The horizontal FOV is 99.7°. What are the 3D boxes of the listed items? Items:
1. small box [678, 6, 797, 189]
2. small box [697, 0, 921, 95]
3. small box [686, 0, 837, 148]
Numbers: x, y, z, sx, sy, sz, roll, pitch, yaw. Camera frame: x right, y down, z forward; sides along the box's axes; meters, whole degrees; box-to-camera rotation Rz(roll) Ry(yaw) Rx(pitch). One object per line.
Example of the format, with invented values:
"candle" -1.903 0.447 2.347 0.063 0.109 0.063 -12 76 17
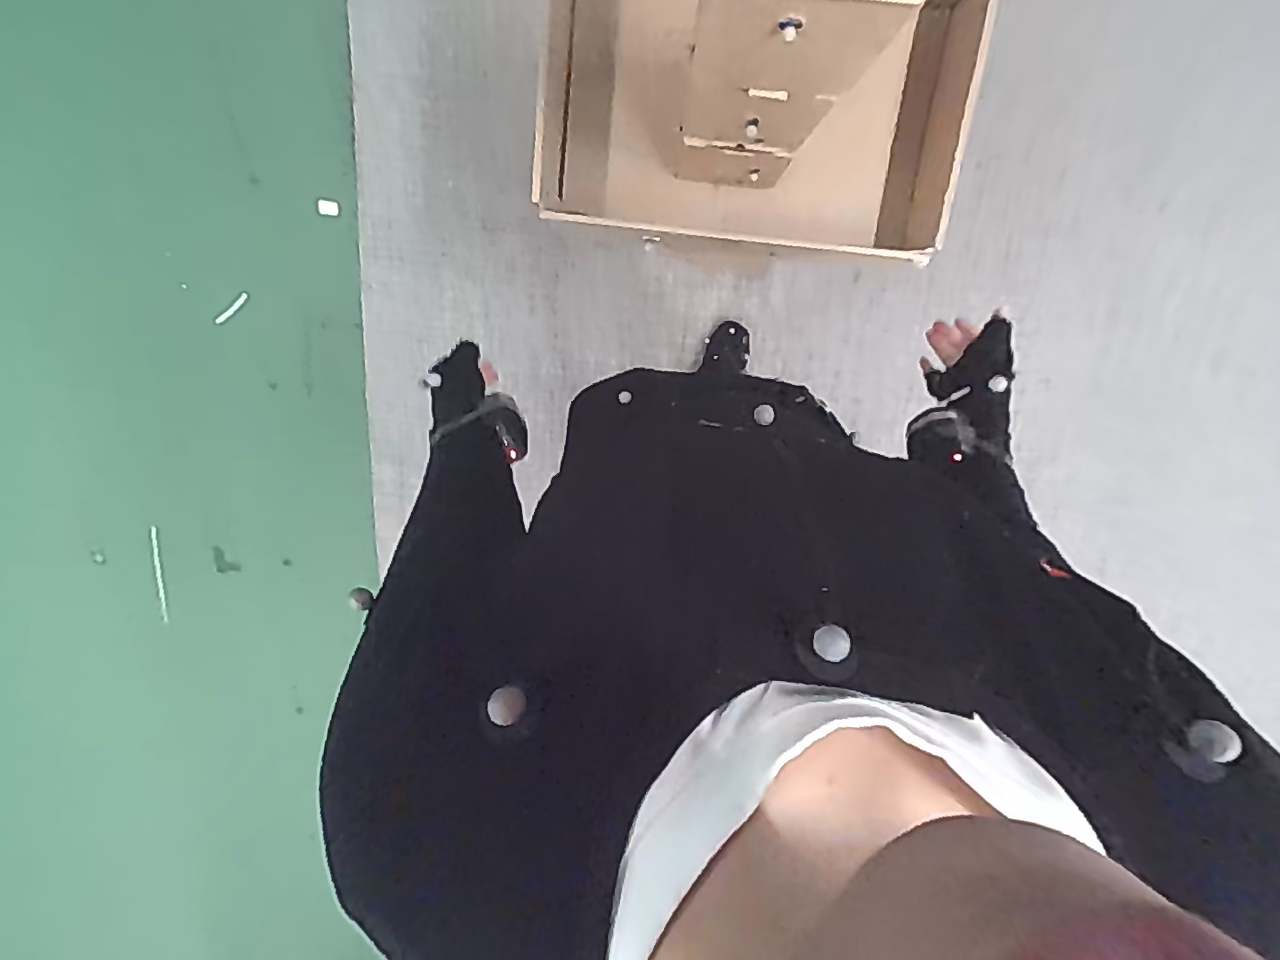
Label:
"small box" 0.150 -0.566 0.826 0.168 0.176 0.179 5 102 -1
"small box" 0.152 -0.492 0.505 0.179 0.176 0.168 4 104 -2
"small box" 0.151 -0.535 0.665 0.168 0.176 0.179 6 105 -2
